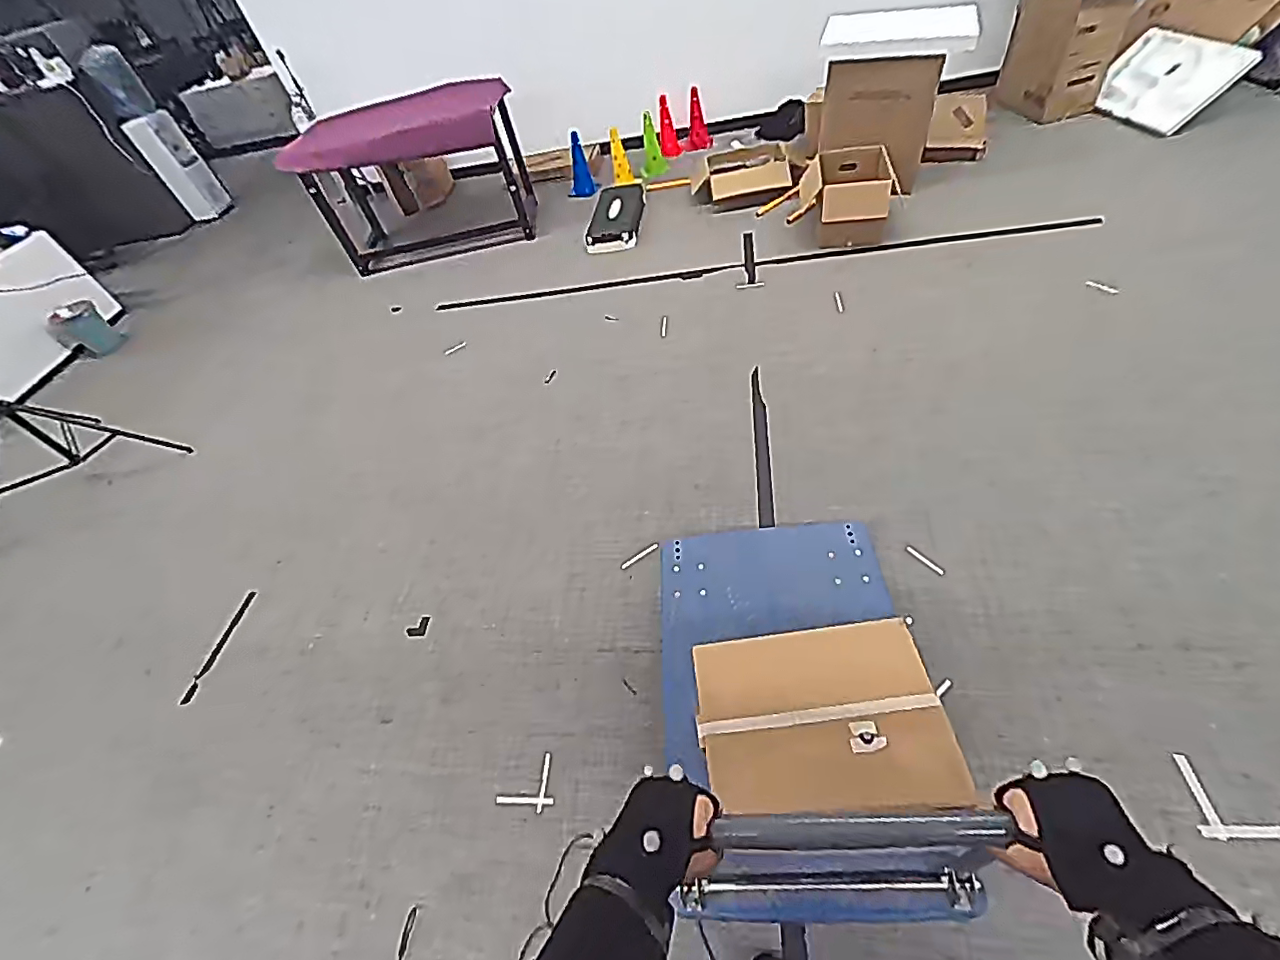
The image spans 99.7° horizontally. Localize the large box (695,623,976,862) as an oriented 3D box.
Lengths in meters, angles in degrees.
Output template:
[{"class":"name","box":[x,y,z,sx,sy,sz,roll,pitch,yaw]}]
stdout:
[{"class":"large box","box":[0.336,0.515,1.049,0.408,0.320,0.320,-9,49,5]}]
